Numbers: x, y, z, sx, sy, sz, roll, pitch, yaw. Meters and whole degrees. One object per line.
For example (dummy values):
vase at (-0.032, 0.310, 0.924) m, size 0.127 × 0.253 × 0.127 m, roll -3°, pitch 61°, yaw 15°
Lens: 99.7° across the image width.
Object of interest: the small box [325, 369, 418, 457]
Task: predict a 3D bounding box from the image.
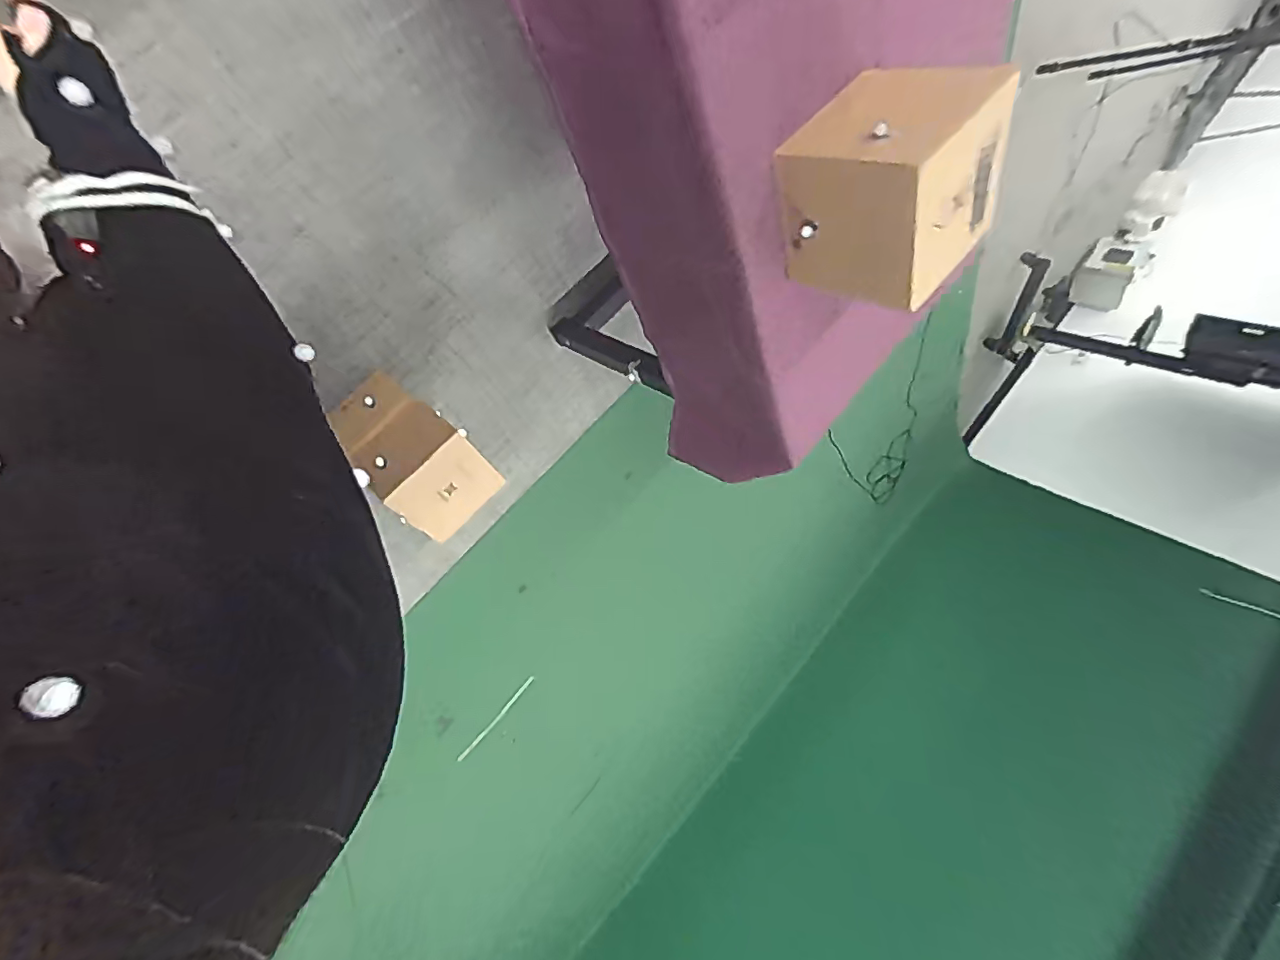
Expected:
small box at (-0.511, -0.110, 1.122) m, size 0.168 × 0.176 × 0.179 m, roll -48°, pitch 142°, yaw -10°

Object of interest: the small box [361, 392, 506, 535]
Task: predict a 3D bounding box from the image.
small box at (-0.398, -0.034, 1.030) m, size 0.179 × 0.176 × 0.168 m, roll -47°, pitch 144°, yaw -12°
